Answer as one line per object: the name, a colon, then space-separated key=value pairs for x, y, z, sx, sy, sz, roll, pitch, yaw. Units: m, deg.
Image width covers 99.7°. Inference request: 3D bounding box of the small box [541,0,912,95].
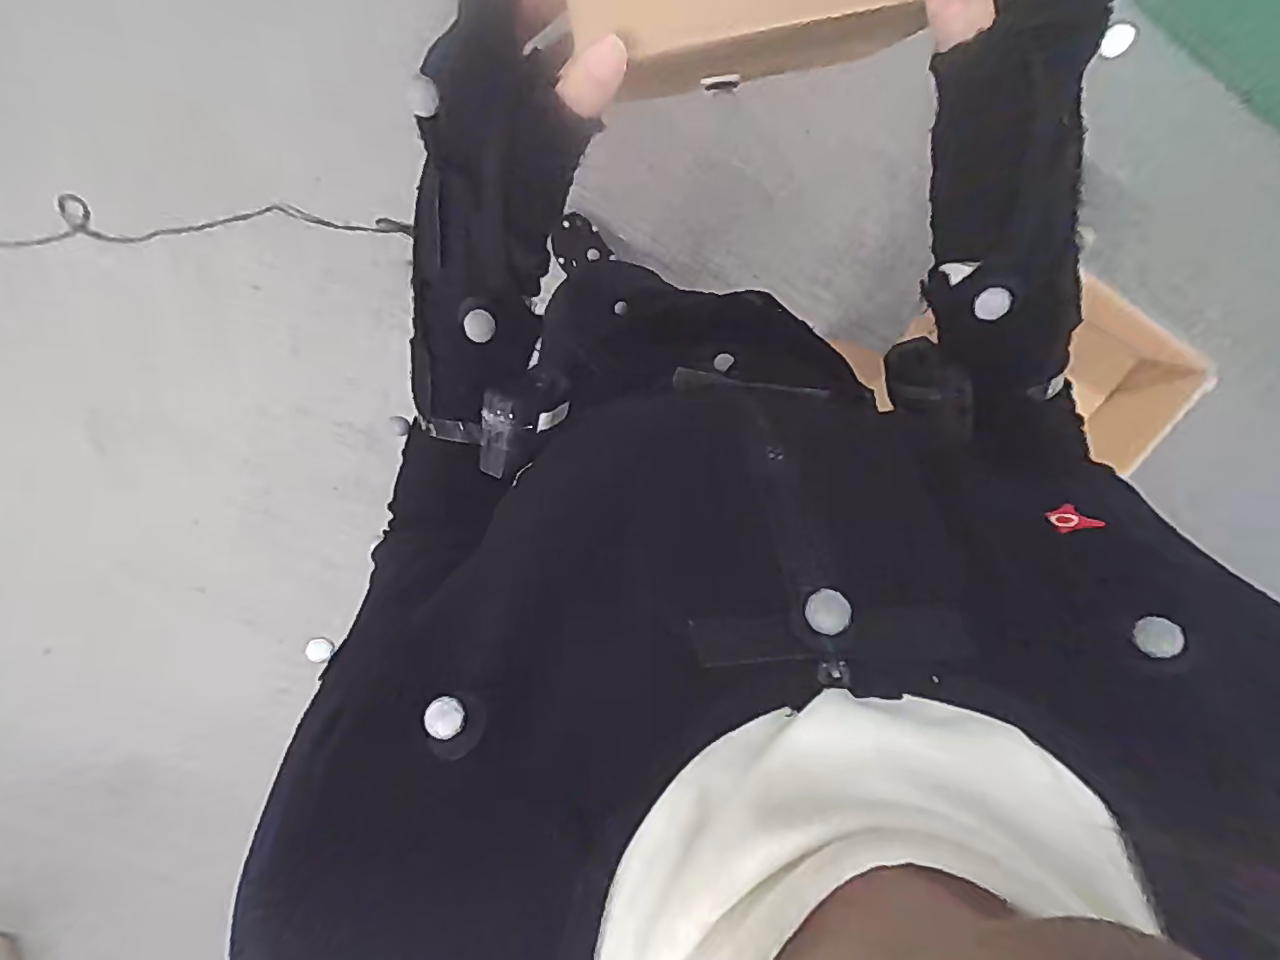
small box: x=0.032 y=-0.293 z=0.231 sx=0.168 sy=0.176 sz=0.179 roll=-8 pitch=120 yaw=6
